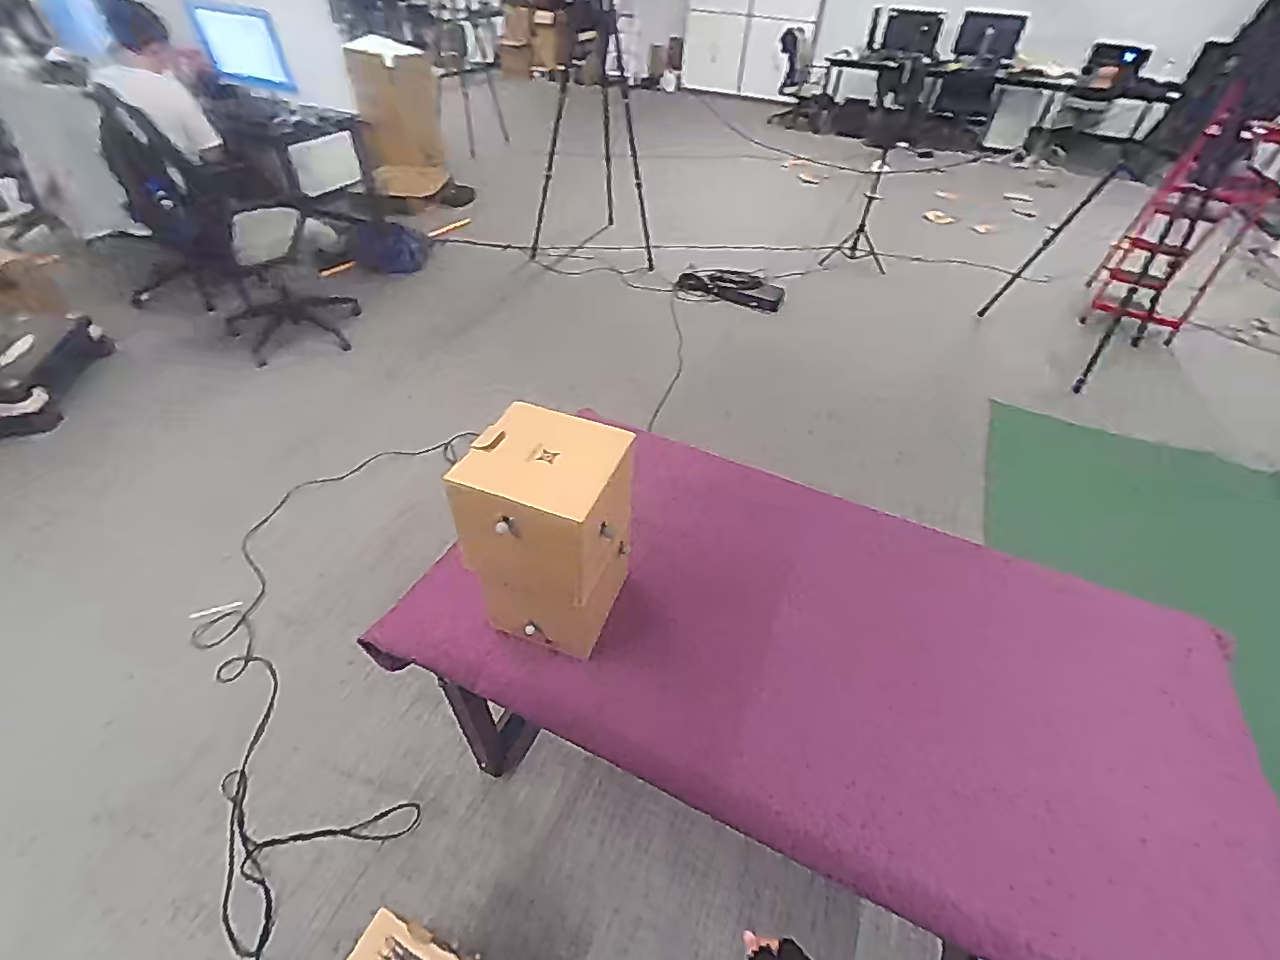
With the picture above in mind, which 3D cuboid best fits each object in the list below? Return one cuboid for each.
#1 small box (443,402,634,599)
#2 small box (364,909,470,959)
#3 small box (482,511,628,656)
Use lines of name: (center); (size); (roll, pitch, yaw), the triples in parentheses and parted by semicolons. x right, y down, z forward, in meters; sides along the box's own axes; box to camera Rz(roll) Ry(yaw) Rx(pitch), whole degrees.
small box: (-0.121, 0.030, 0.705); (0.179, 0.176, 0.168); (17, 46, 12)
small box: (-0.433, 0.954, 1.009); (0.168, 0.176, 0.179); (21, 48, 16)
small box: (-0.130, 0.134, 0.831); (0.168, 0.176, 0.179); (17, 45, 12)
